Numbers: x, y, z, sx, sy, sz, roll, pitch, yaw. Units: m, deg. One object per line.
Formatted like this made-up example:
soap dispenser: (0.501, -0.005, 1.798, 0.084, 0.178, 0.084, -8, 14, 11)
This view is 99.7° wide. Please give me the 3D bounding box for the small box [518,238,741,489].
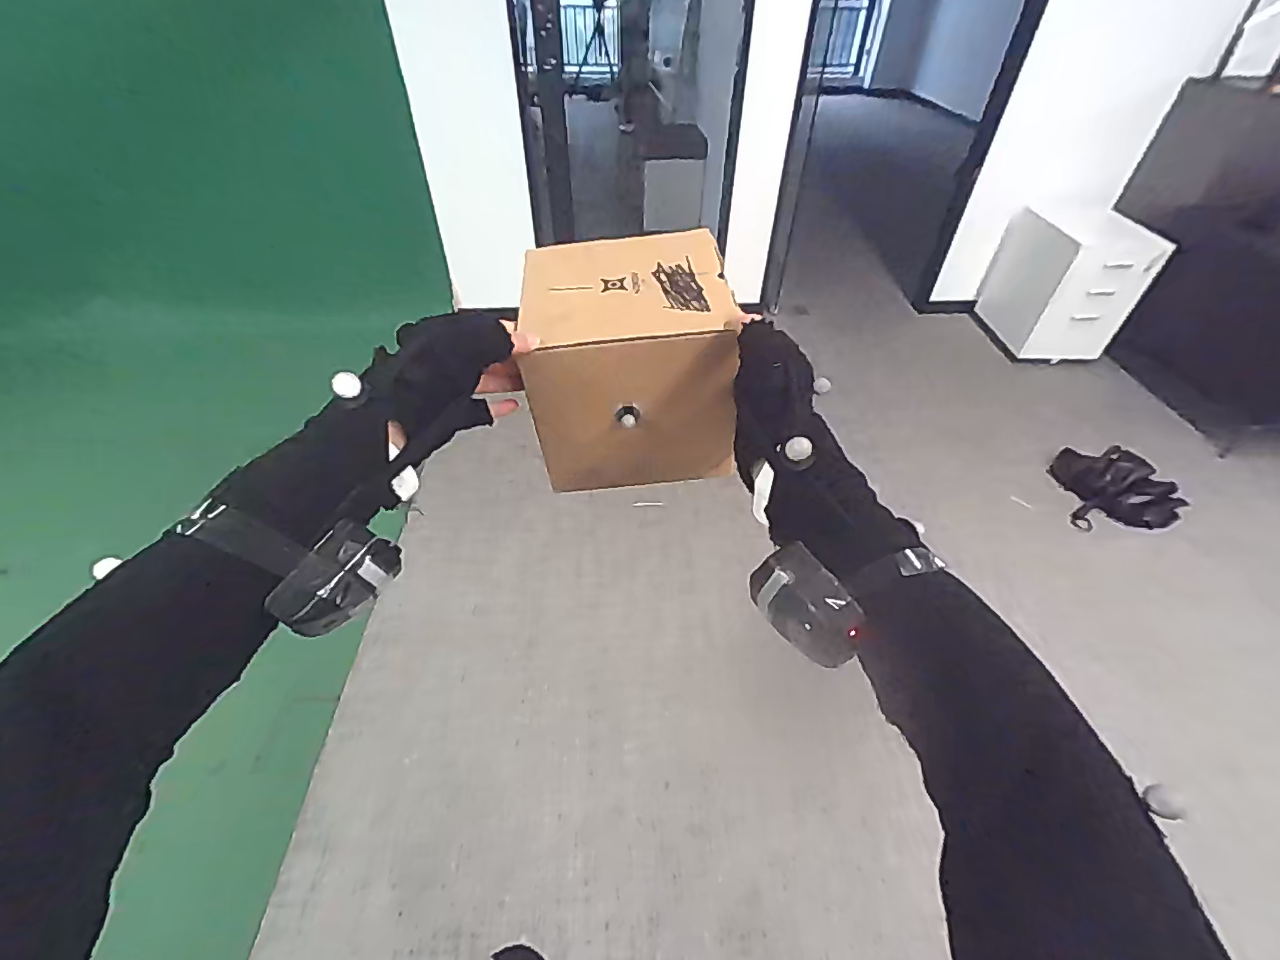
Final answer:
small box: (-0.009, -0.110, 0.526, 0.179, 0.176, 0.168, -7, 48, 0)
